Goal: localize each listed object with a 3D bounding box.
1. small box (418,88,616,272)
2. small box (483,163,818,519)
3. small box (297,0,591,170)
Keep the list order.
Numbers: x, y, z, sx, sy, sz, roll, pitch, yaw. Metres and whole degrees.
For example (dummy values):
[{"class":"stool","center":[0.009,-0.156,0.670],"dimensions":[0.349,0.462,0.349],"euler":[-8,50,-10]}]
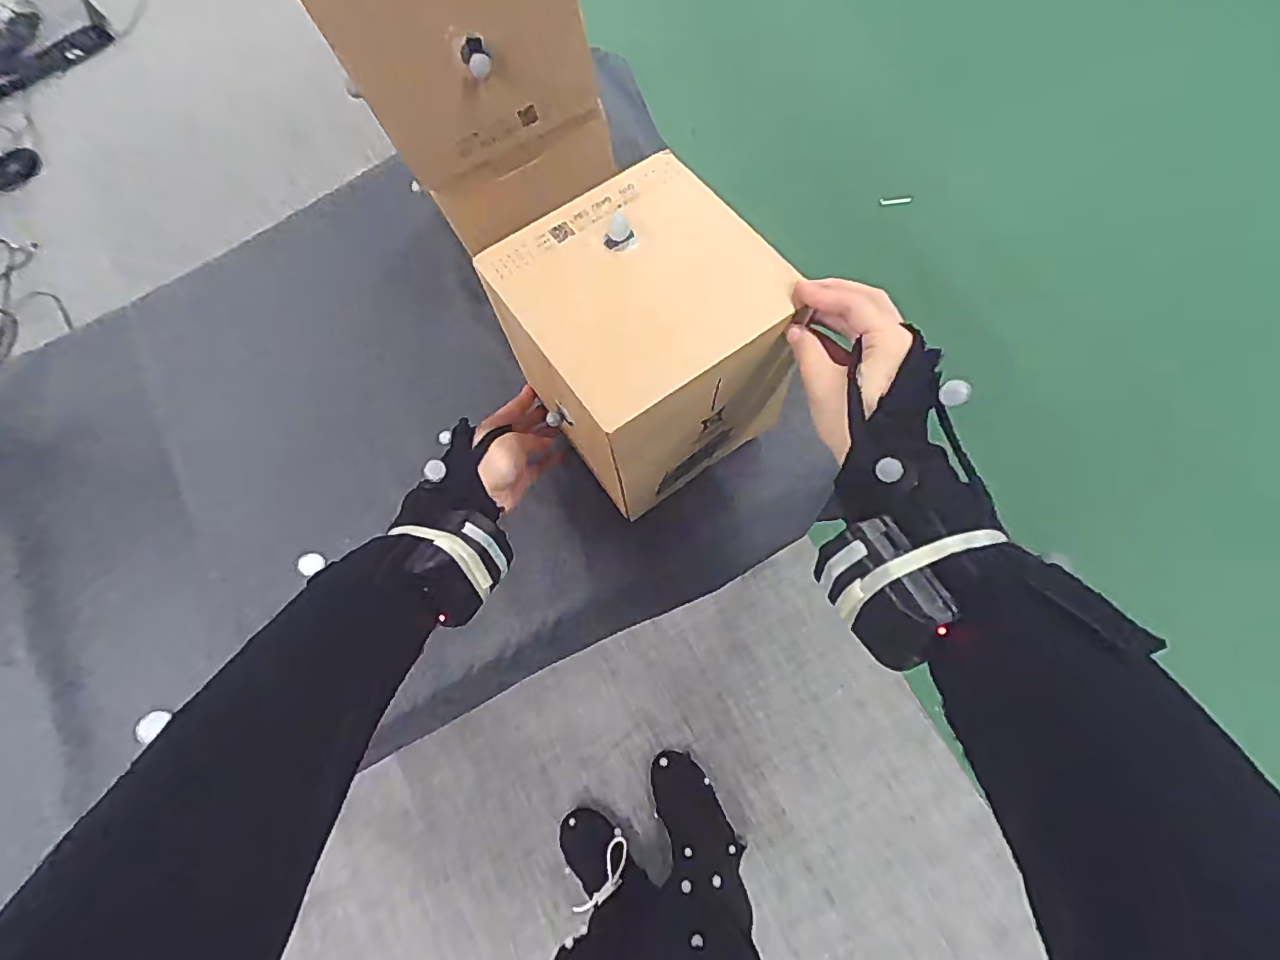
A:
[{"class":"small box","center":[-0.133,-0.329,0.553],"dimensions":[0.168,0.176,0.179],"euler":[-27,74,-1]},{"class":"small box","center":[0.004,-0.101,0.430],"dimensions":[0.168,0.179,0.176],"euler":[-34,70,-10]},{"class":"small box","center":[-0.151,-0.366,0.394],"dimensions":[0.168,0.176,0.179],"euler":[-27,75,-1]}]
